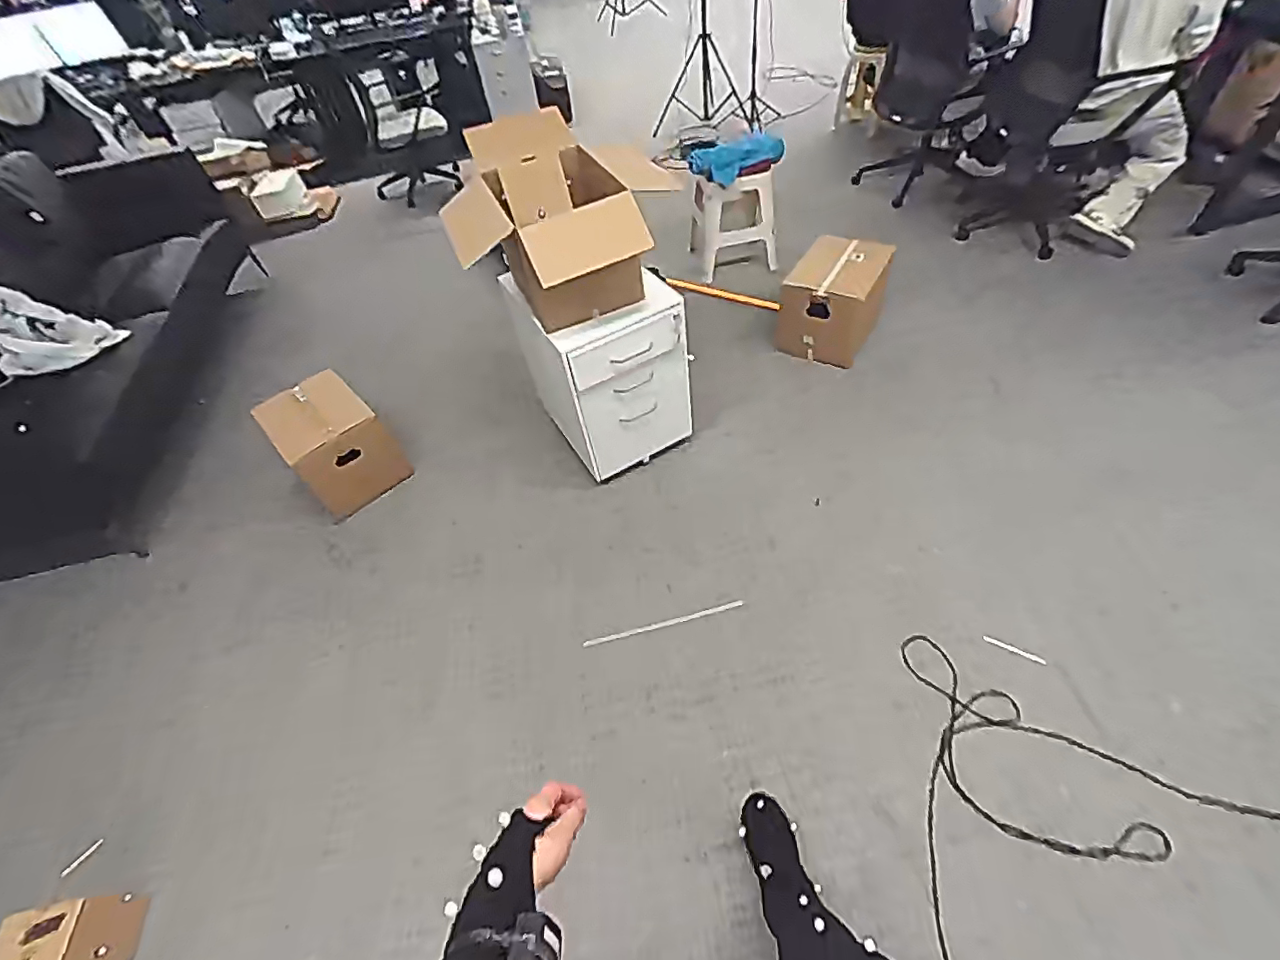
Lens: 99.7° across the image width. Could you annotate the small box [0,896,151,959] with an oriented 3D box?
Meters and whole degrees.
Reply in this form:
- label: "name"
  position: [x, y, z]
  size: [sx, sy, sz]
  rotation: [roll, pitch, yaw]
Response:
- label: "small box"
  position: [-1.219, 1.025, 1.163]
  size: [0.168, 0.176, 0.179]
  rotation: [-13, 50, -2]
